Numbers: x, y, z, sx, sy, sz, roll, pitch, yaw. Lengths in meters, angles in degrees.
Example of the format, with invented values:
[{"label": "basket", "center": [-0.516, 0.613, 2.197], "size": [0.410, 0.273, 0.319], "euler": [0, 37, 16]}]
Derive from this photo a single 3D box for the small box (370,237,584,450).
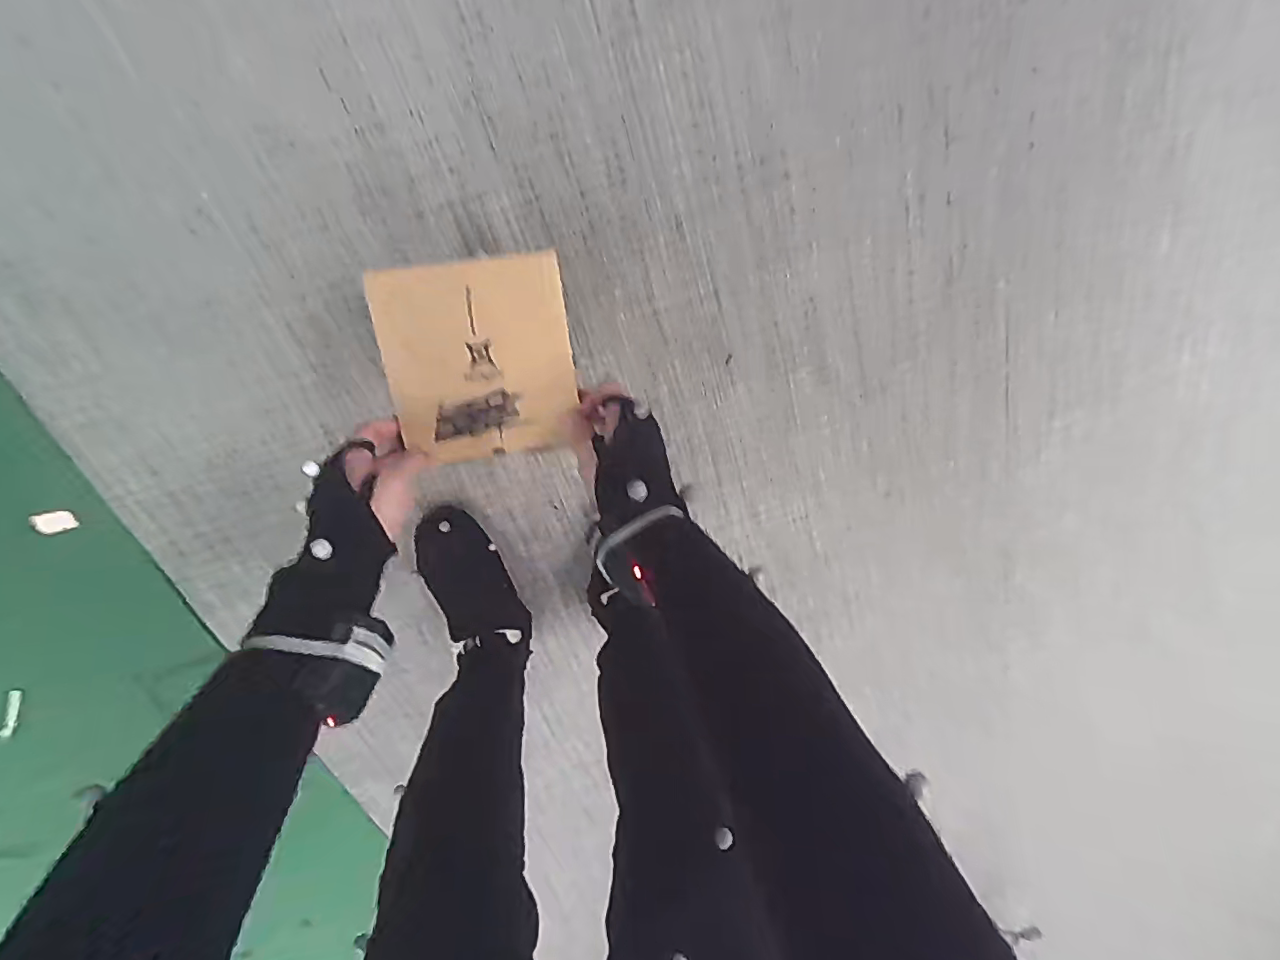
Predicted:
[{"label": "small box", "center": [-0.152, -0.144, 0.567], "size": [0.168, 0.176, 0.179], "euler": [-9, 107, -6]}]
